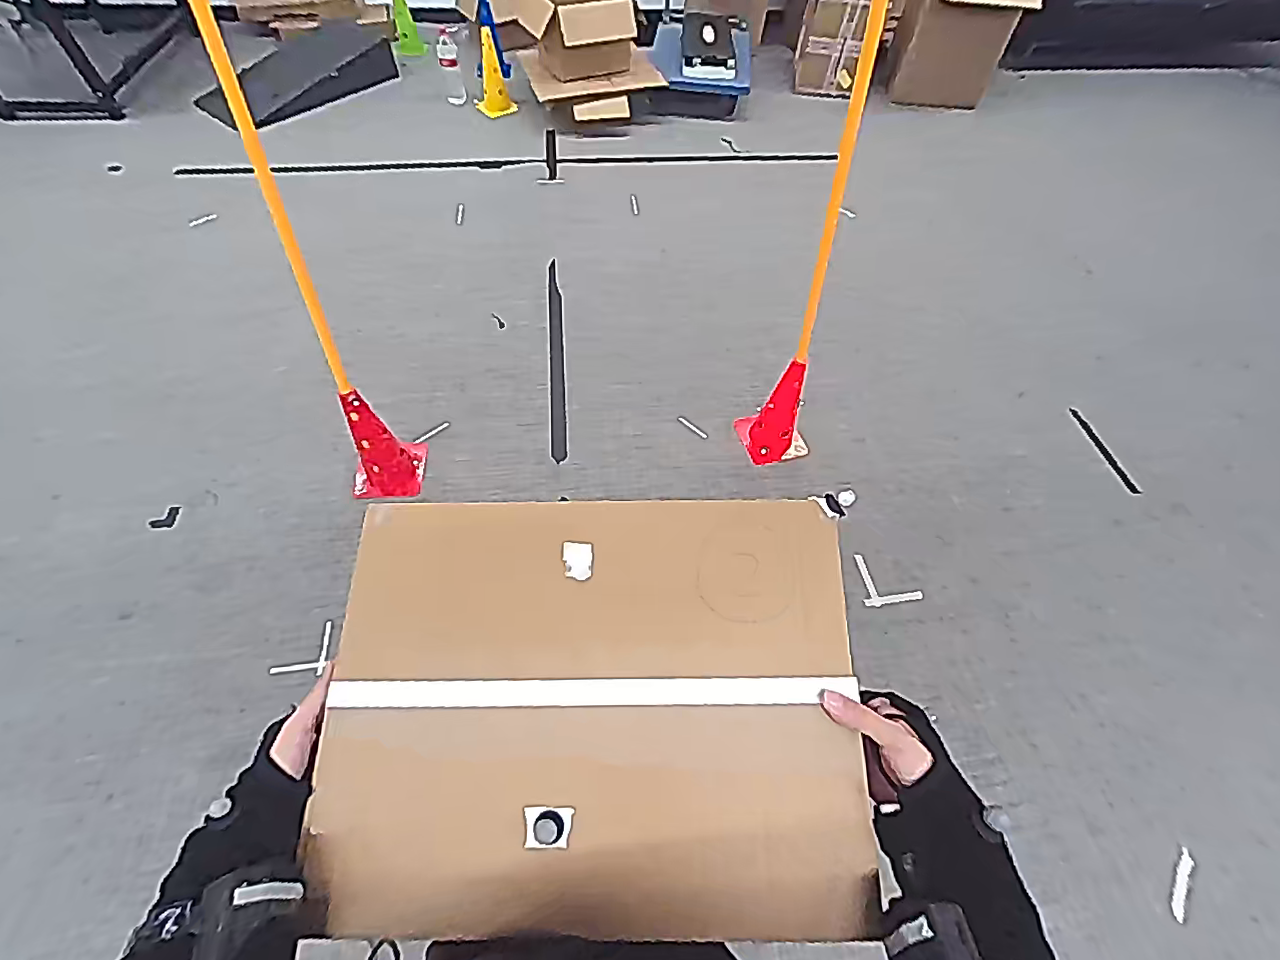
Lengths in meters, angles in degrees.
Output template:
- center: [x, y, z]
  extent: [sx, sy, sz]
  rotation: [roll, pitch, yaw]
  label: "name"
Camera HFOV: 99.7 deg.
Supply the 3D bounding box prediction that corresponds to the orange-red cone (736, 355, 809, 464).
- center: [0.443, -0.237, 1.646]
  extent: [0.199, 0.360, 0.198]
  rotation: [-11, 58, -12]
  label: "orange-red cone"
